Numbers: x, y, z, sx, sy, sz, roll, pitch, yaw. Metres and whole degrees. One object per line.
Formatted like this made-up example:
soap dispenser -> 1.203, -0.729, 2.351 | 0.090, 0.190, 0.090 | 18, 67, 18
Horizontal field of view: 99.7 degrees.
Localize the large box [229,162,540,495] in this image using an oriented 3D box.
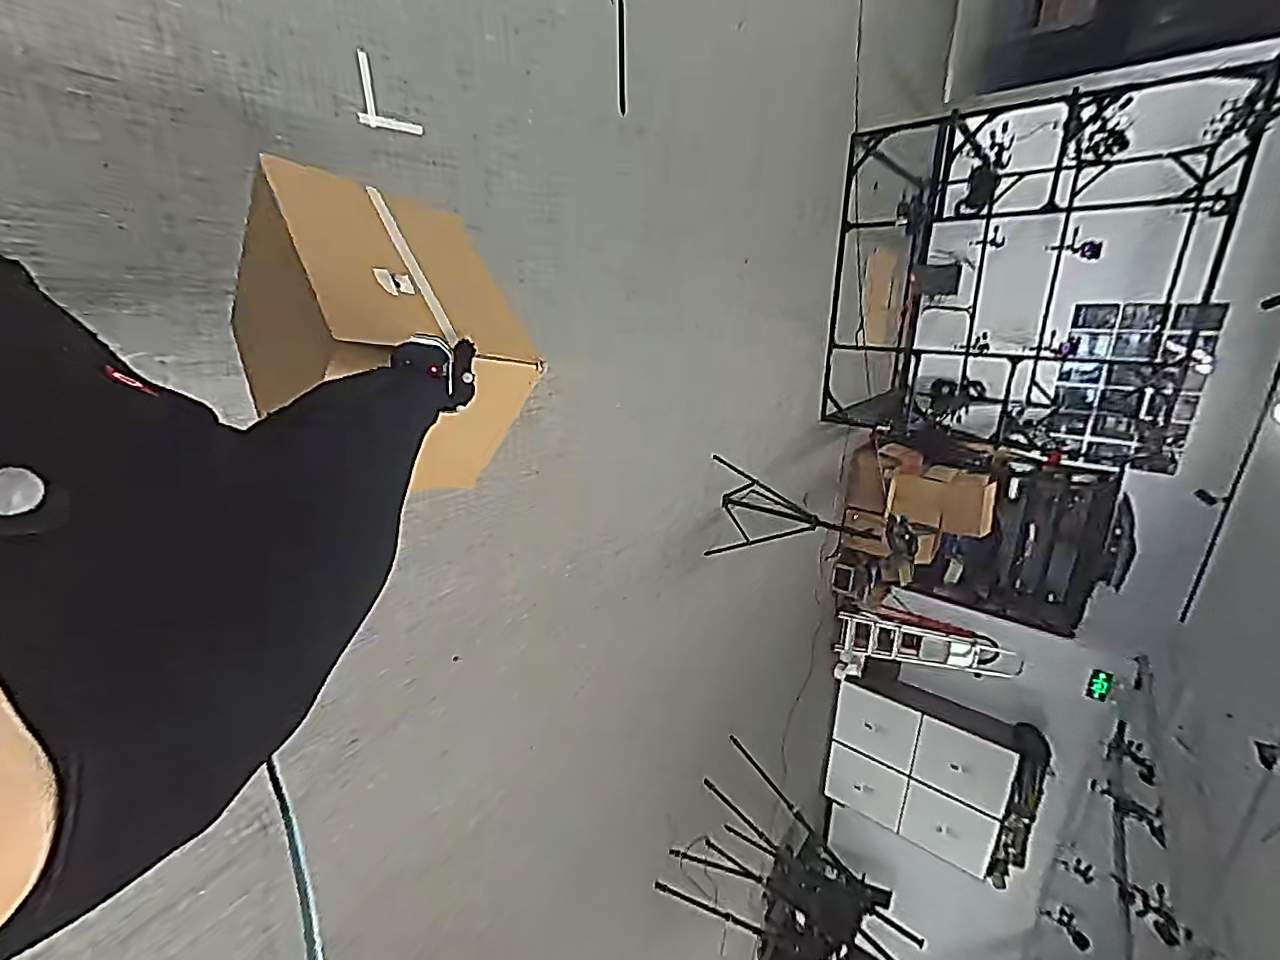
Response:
large box -> -0.445, -0.232, 0.917 | 0.320, 0.408, 0.320 | -7, 148, -48
